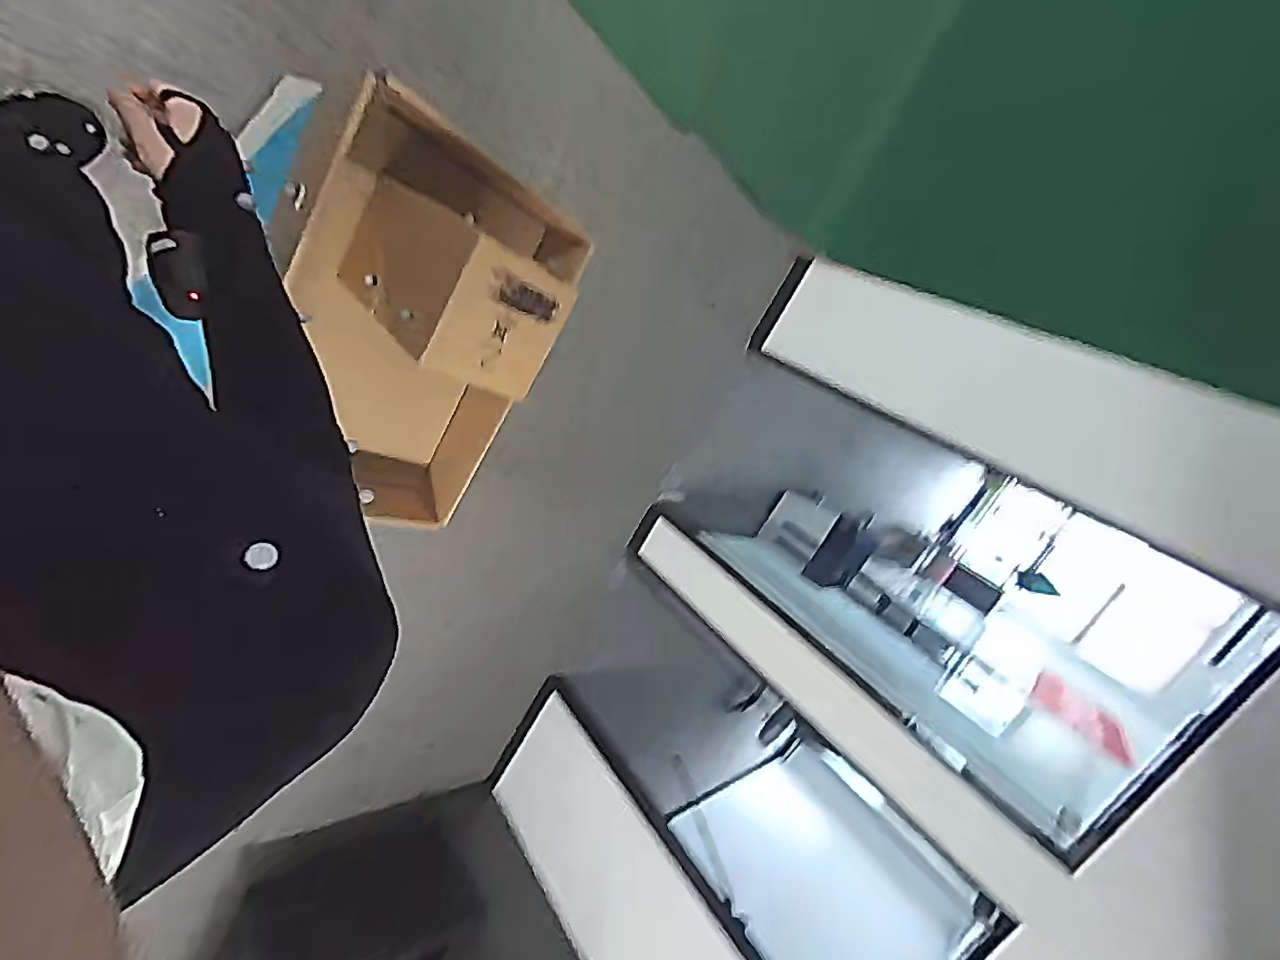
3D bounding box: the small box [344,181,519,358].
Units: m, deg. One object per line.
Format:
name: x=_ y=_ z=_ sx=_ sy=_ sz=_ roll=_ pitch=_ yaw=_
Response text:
small box: x=-0.327 y=-0.324 z=0.836 sx=0.168 sy=0.176 sz=0.179 roll=15 pitch=112 yaw=-52
